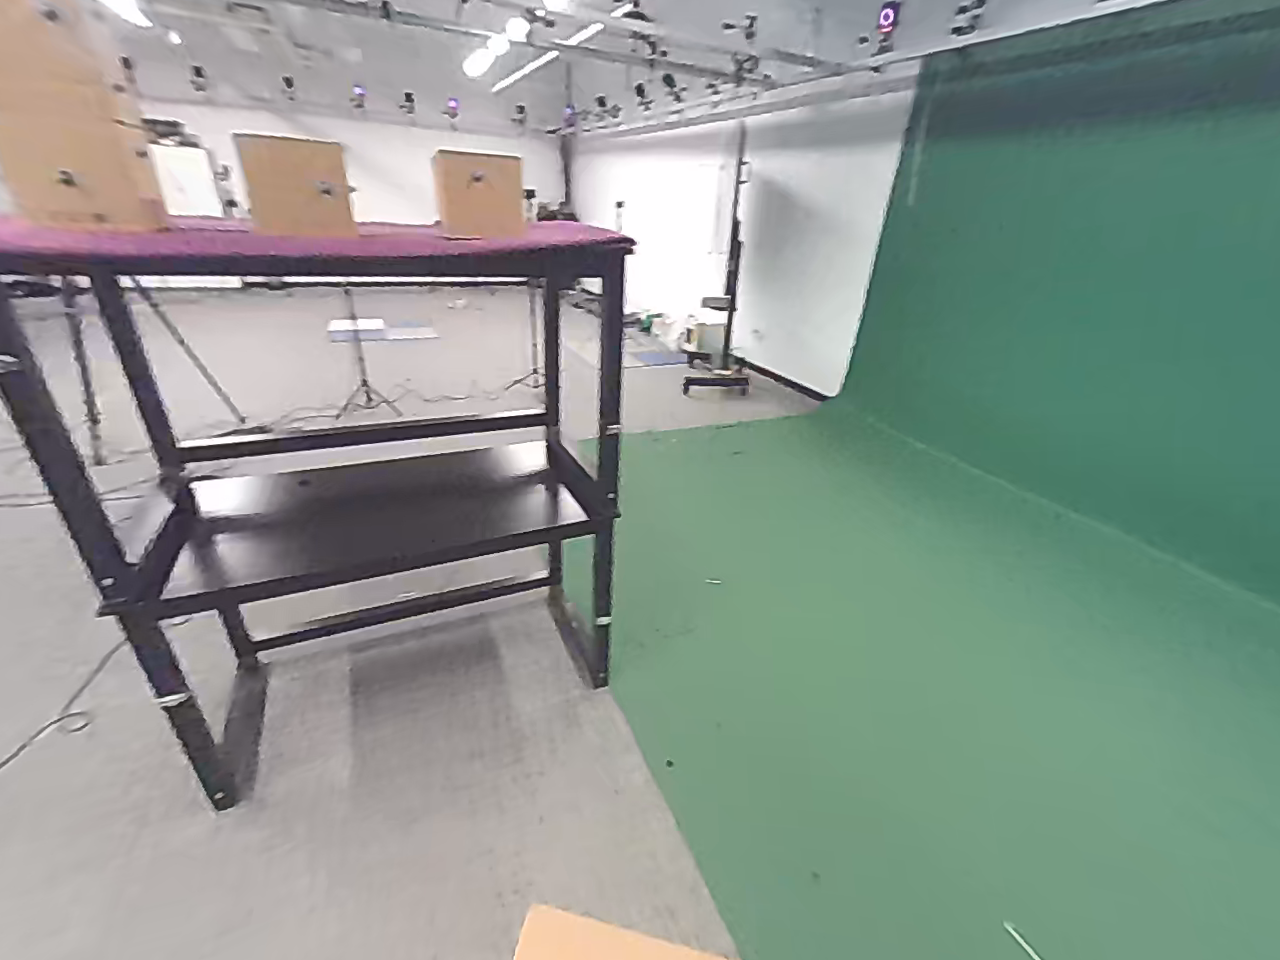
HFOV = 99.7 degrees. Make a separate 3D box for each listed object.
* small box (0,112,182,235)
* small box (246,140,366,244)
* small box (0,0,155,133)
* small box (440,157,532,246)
[{"bbox_3d":[-0.948,-0.532,0.955,0.168,0.176,0.179,-8,29,-26],"label":"small box"},{"bbox_3d":[-0.661,-0.576,1.093,0.179,0.176,0.168,-10,29,-24],"label":"small box"},{"bbox_3d":[-0.940,-0.675,0.878,0.179,0.176,0.168,-9,30,-27],"label":"small box"},{"bbox_3d":[-0.356,-0.637,1.252,0.179,0.176,0.168,-8,27,-23],"label":"small box"}]
